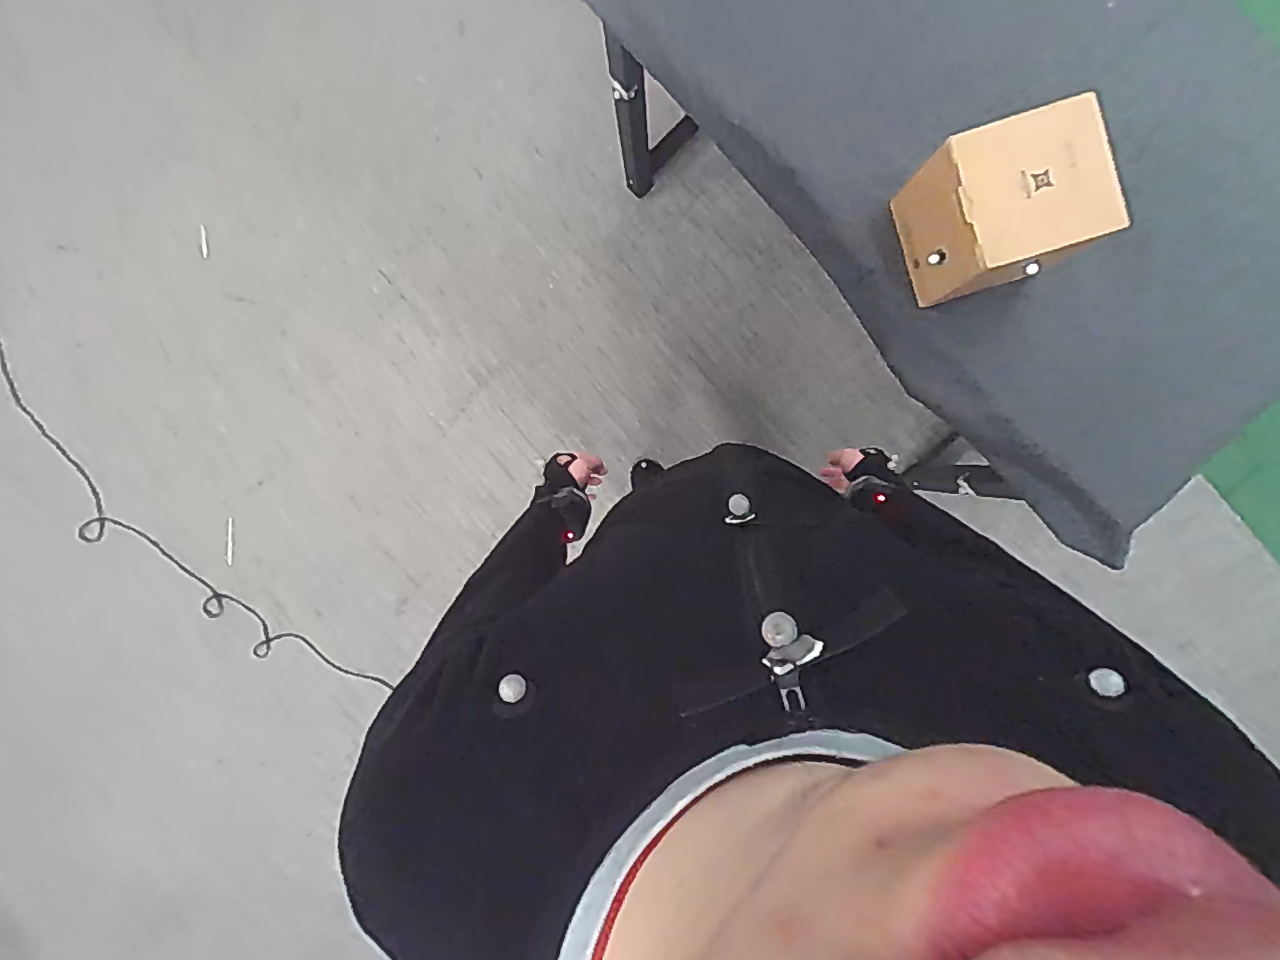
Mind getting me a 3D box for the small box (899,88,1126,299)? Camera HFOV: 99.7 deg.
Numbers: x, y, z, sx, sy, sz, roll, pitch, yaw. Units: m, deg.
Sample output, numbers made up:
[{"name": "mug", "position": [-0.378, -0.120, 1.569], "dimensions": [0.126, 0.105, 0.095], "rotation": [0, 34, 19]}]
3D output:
[{"name": "small box", "position": [0.470, -0.359, 0.716], "dimensions": [0.179, 0.176, 0.168], "rotation": [-17, 93, 2]}]
